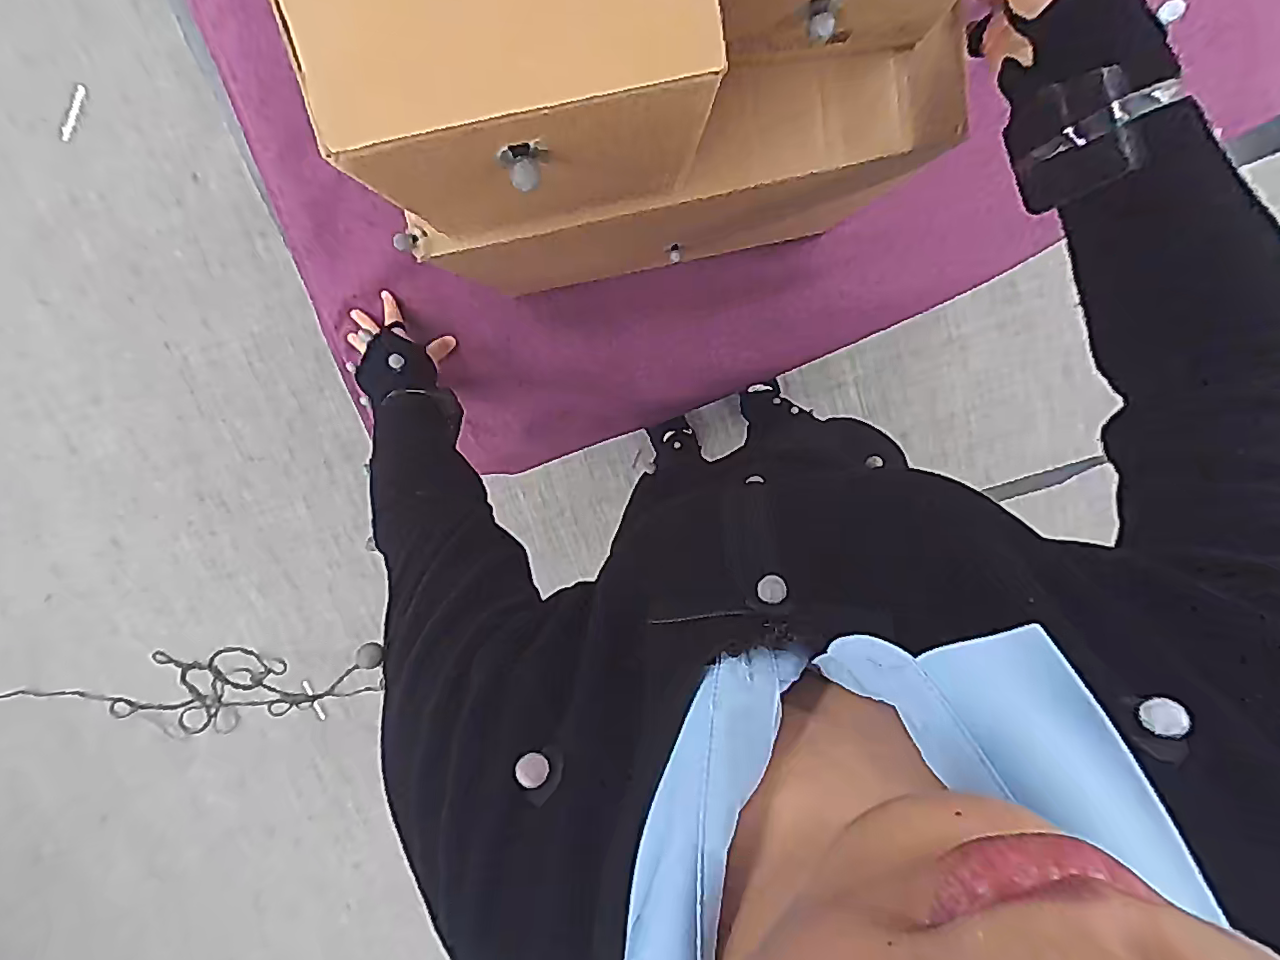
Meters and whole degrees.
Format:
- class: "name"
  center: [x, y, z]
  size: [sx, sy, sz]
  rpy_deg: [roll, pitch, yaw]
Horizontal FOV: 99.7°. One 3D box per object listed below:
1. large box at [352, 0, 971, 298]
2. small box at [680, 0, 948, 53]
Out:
- class: "large box"
  center: [0.007, -0.379, 0.497]
  size: [0.408, 0.320, 0.320]
  rpy_deg: [-12, 102, 3]
- class: "small box"
  center: [0.100, -0.349, 0.252]
  size: [0.168, 0.176, 0.179]
  rpy_deg: [-5, 103, 2]
